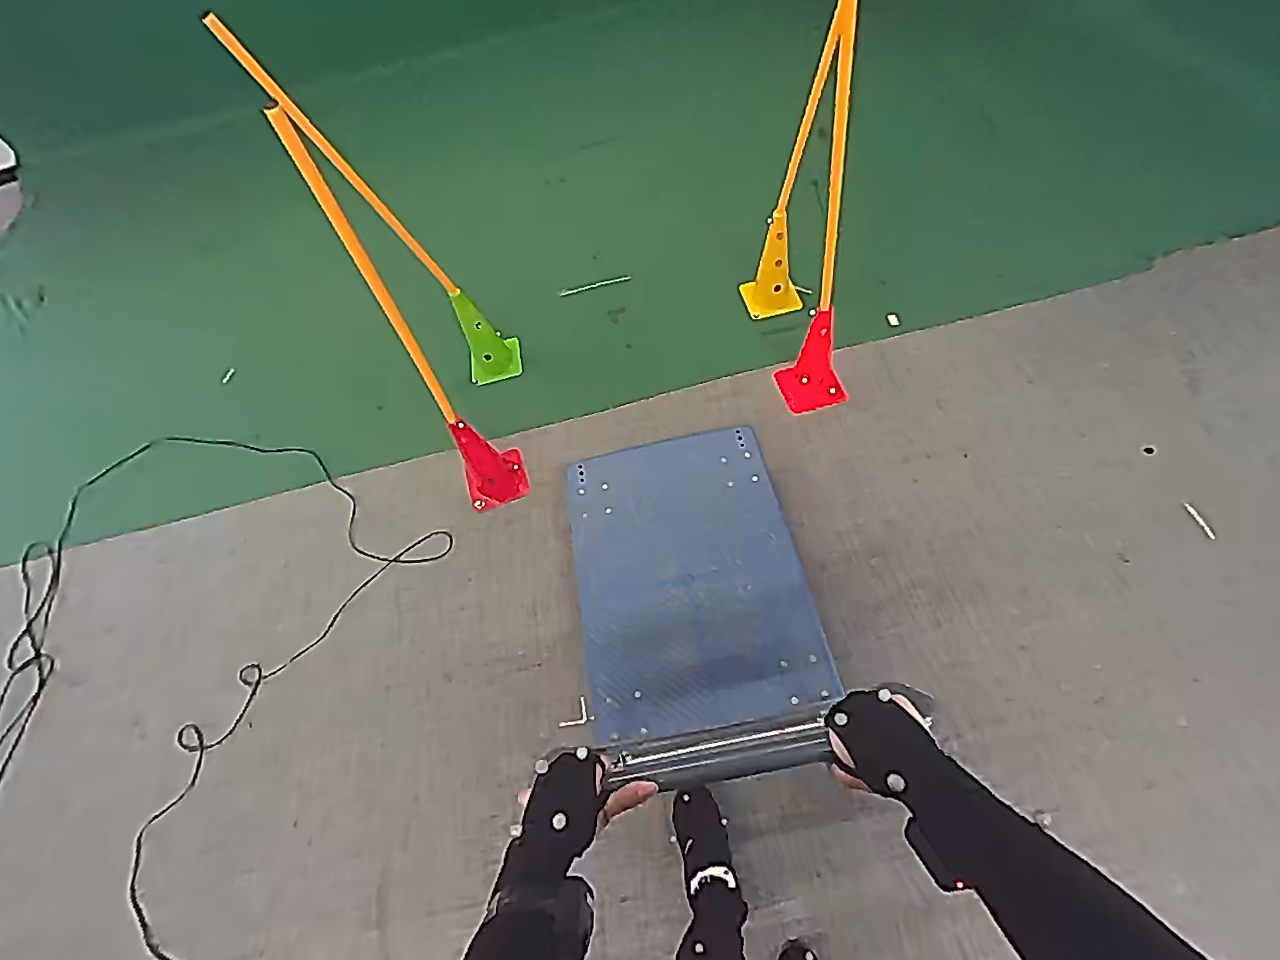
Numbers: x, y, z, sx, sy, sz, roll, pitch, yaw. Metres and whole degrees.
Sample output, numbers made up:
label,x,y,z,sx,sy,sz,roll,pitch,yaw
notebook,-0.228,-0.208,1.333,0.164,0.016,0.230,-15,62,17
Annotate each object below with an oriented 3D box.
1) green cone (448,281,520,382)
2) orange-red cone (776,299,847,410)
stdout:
label,x,y,z,sx,sy,sz,roll,pitch,yaw
green cone,-0.593,-0.560,1.962,0.200,0.368,0.202,-14,58,2
orange-red cone,0.558,-0.415,1.695,0.198,0.360,0.199,-14,58,1
